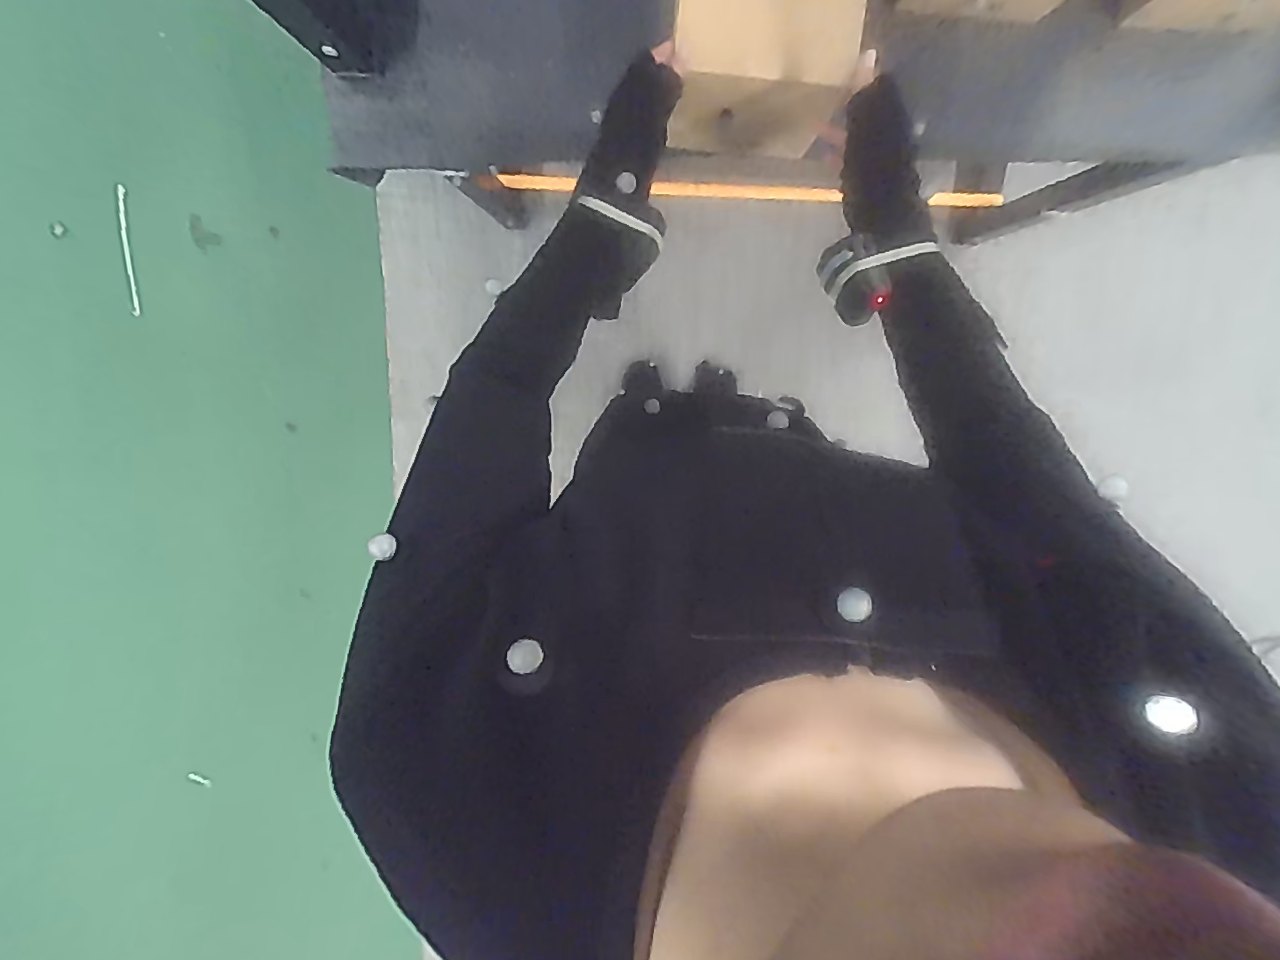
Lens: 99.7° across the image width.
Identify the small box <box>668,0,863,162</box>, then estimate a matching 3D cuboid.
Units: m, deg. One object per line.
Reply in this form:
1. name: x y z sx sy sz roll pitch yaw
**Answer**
1. small box: 0.119 -0.454 0.555 0.168 0.176 0.179 5 100 -1
